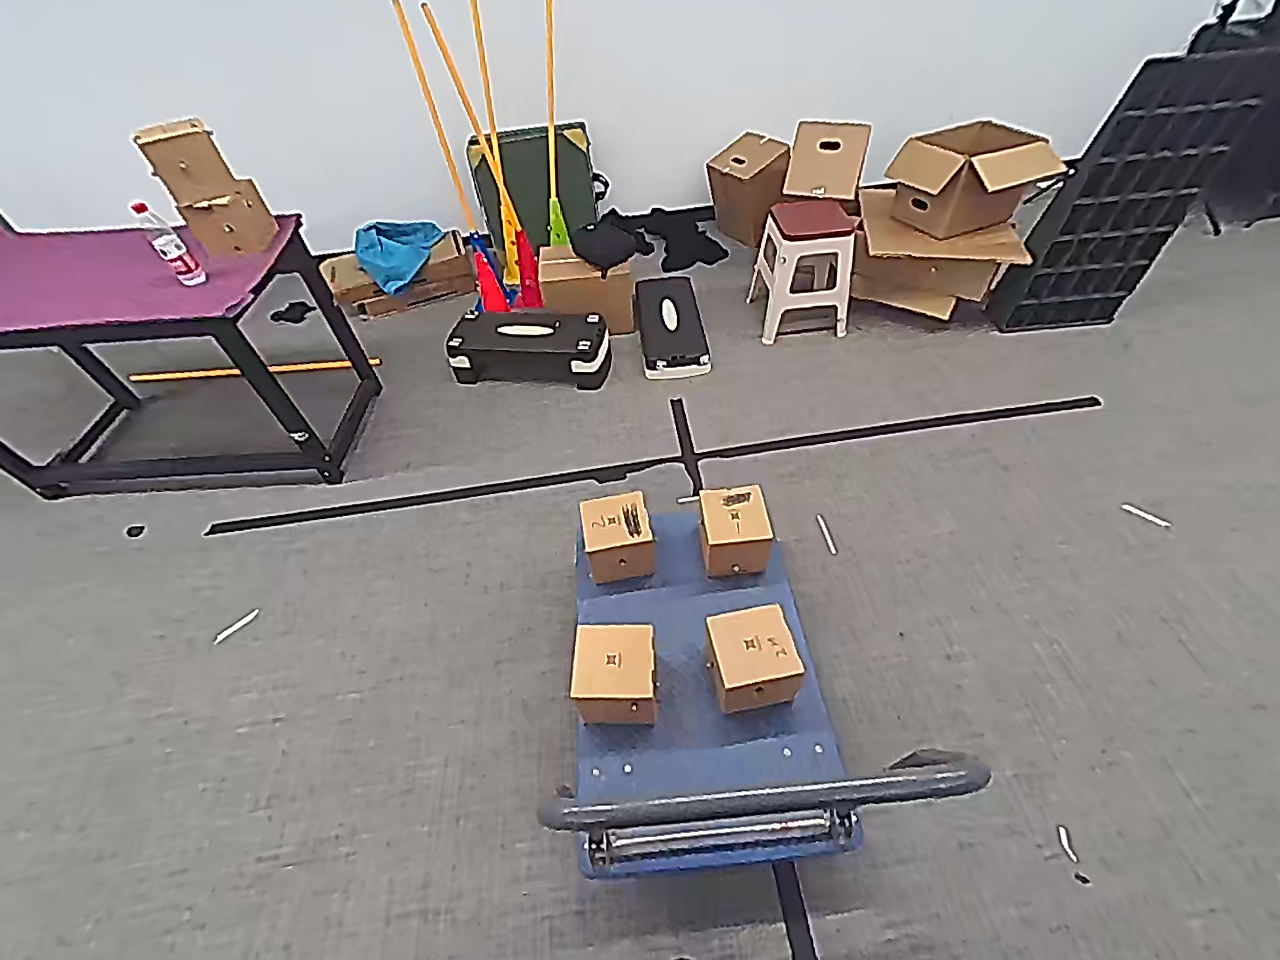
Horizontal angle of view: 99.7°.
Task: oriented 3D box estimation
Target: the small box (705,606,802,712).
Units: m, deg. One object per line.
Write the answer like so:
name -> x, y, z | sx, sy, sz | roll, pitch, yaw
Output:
small box -> 0.252, 0.415, 1.244 | 0.179, 0.176, 0.168 | -10, 50, -4

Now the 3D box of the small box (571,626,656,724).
small box -> -0.053, 0.450, 1.241 | 0.179, 0.176, 0.168 | -1, 49, 2

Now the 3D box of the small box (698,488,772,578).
small box -> 0.251, 0.145, 1.475 | 0.168, 0.176, 0.179 | -6, 50, 0
